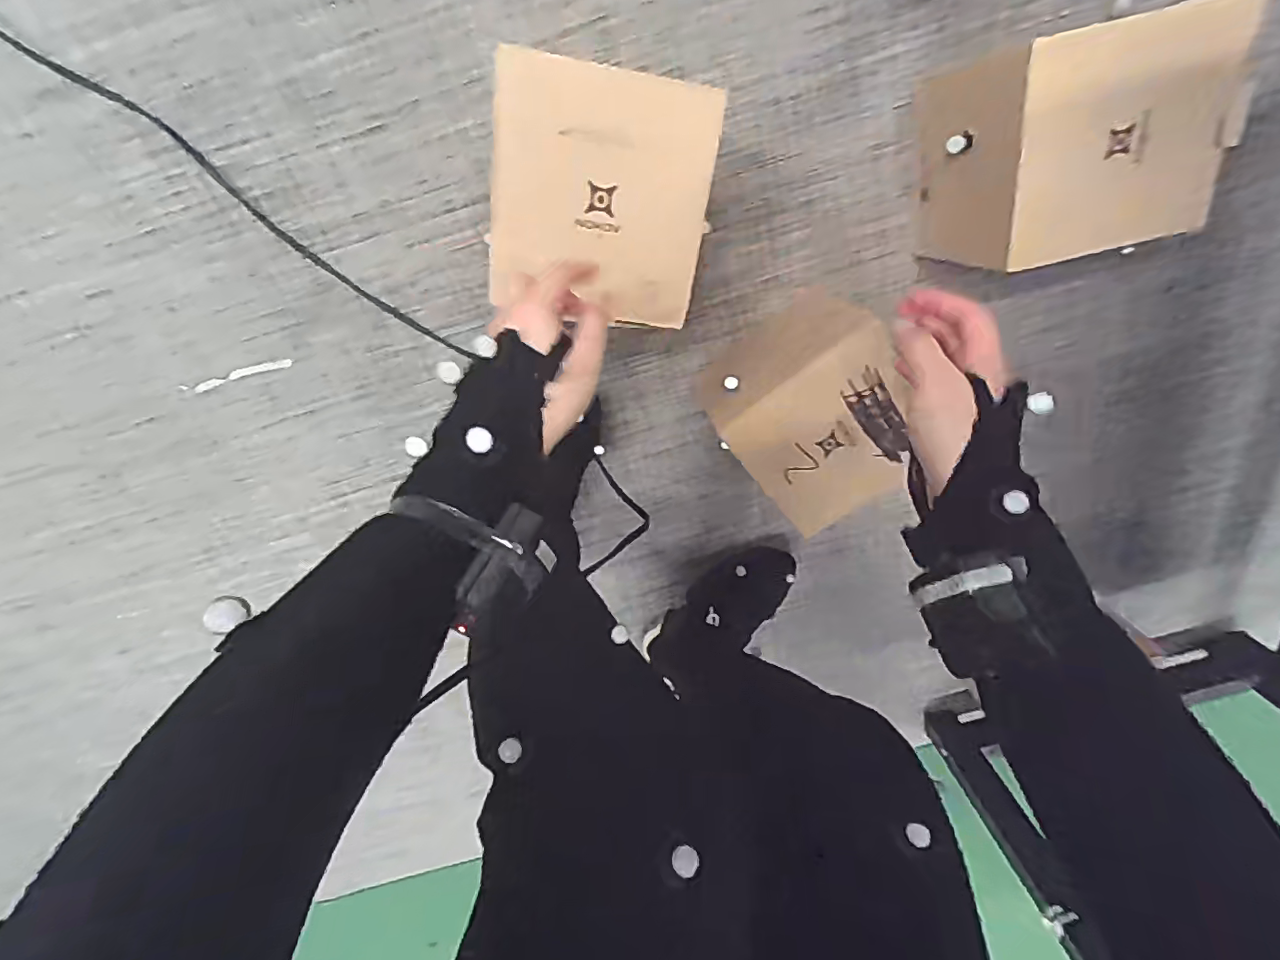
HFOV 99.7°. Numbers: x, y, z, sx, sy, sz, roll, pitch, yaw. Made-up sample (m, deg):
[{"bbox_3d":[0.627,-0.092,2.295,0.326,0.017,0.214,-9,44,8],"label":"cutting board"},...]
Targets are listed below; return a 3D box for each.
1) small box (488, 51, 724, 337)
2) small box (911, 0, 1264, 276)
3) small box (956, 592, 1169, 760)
[{"bbox_3d":[-0.038,-0.243,0.486,0.168,0.176,0.179,5,116,-9],"label":"small box"},{"bbox_3d":[0.374,-0.297,0.497,0.179,0.176,0.168,-13,117,1],"label":"small box"},{"bbox_3d":[0.615,0.285,0.818,0.168,0.176,0.179,-5,119,-2],"label":"small box"}]
